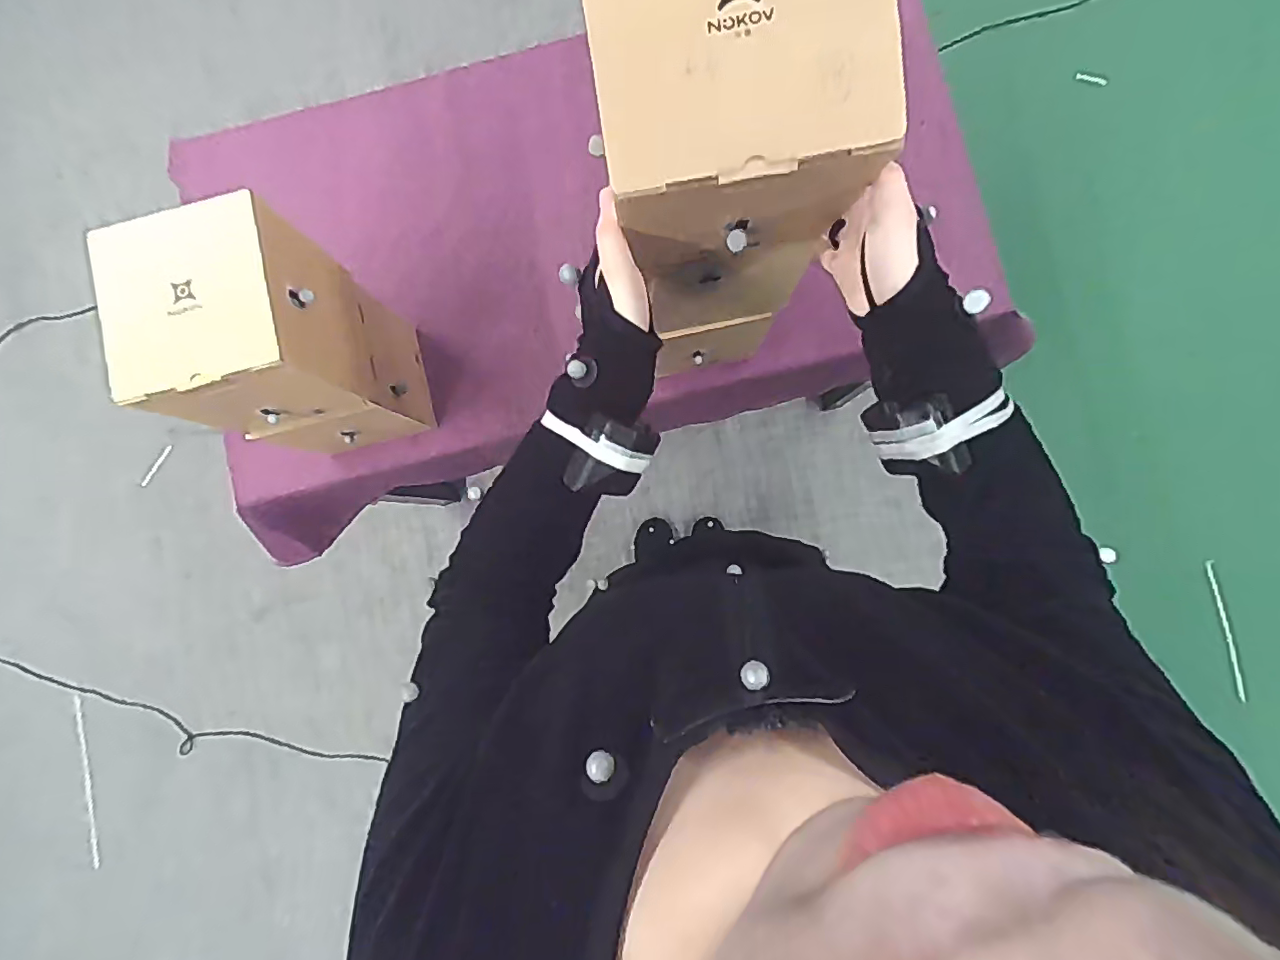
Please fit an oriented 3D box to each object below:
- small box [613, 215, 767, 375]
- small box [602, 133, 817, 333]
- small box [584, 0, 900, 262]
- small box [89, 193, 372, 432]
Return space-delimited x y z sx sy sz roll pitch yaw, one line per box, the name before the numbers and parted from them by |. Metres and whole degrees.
small box | 0.064 -0.252 0.738 0.168 0.176 0.179 -11 85 1
small box | 0.065 -0.270 0.574 0.179 0.176 0.168 -10 85 1
small box | 0.058 -0.261 0.372 0.168 0.176 0.179 -8 99 4
small box | -0.421 -0.165 0.584 0.168 0.176 0.179 -14 85 1
